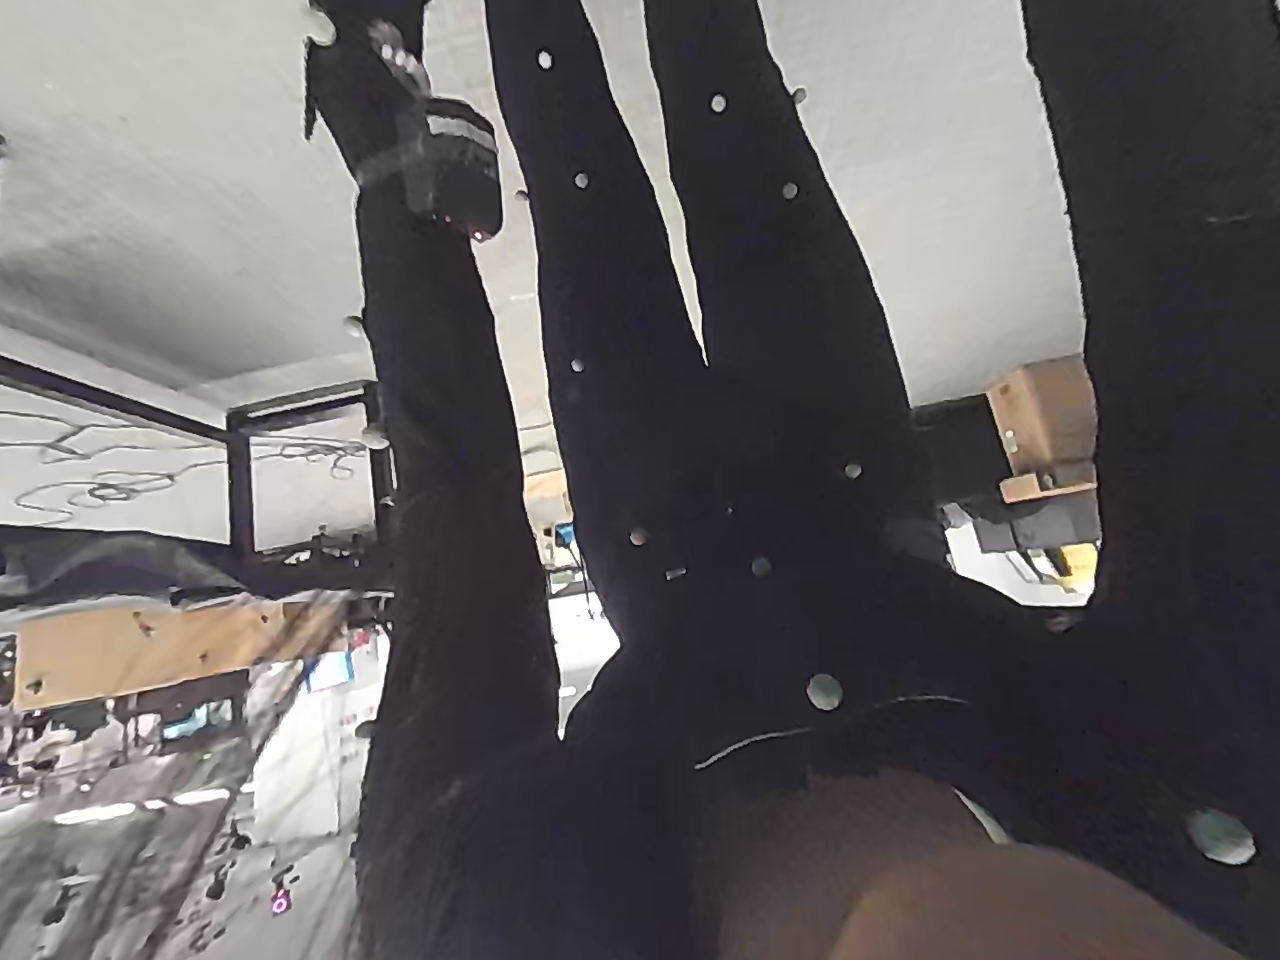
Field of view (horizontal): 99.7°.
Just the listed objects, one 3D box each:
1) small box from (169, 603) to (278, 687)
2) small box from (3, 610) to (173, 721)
[{"bbox_3d":[-1.045,0.408,1.352,0.179,0.176,0.168,-11,168,1],"label":"small box"},{"bbox_3d":[-1.065,0.353,1.059,0.179,0.176,0.168,-11,169,1],"label":"small box"}]
